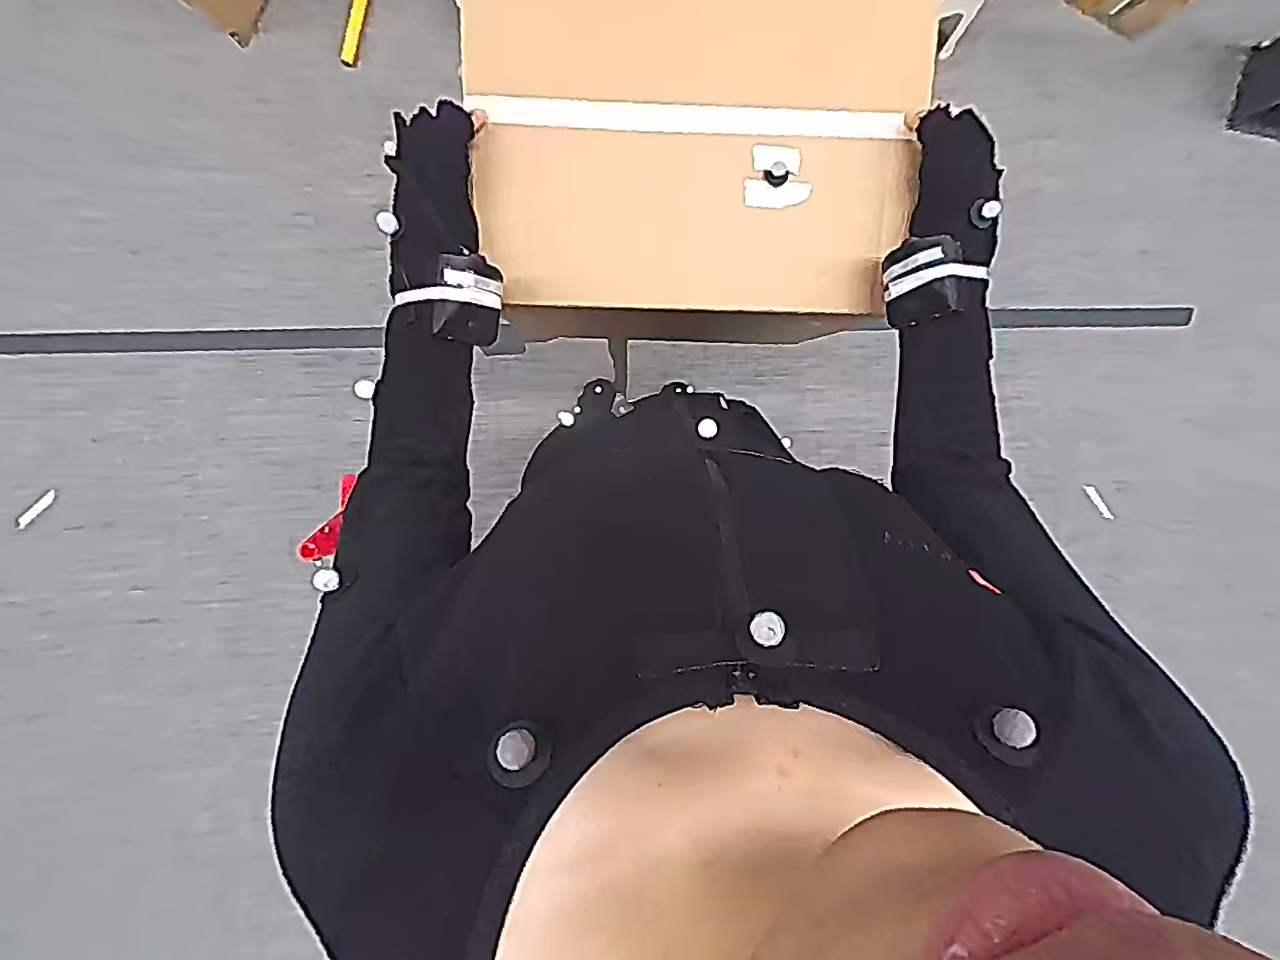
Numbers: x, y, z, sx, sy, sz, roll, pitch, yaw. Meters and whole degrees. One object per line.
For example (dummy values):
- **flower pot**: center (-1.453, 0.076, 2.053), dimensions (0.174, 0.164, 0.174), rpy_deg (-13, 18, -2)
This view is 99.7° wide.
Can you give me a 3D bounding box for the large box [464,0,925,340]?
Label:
- **large box**: center (0.040, -0.335, 0.622), dimensions (0.408, 0.320, 0.320), rpy_deg (0, 99, -4)
